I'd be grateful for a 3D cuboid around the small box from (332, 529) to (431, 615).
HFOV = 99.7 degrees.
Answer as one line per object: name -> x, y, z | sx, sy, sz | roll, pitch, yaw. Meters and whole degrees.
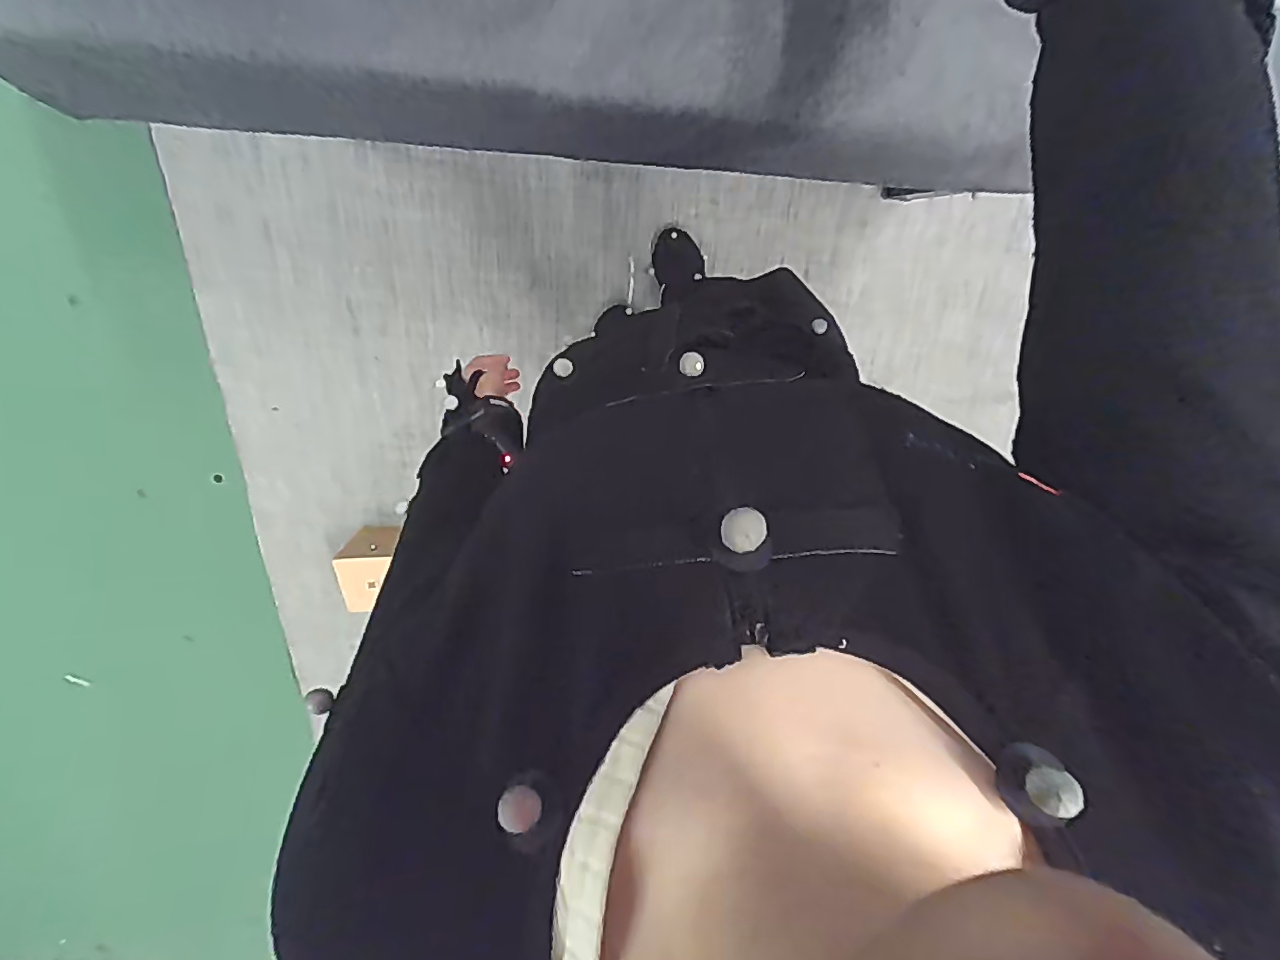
small box -> -0.677, 0.240, 1.447 | 0.179, 0.176, 0.168 | -3, 113, 2
